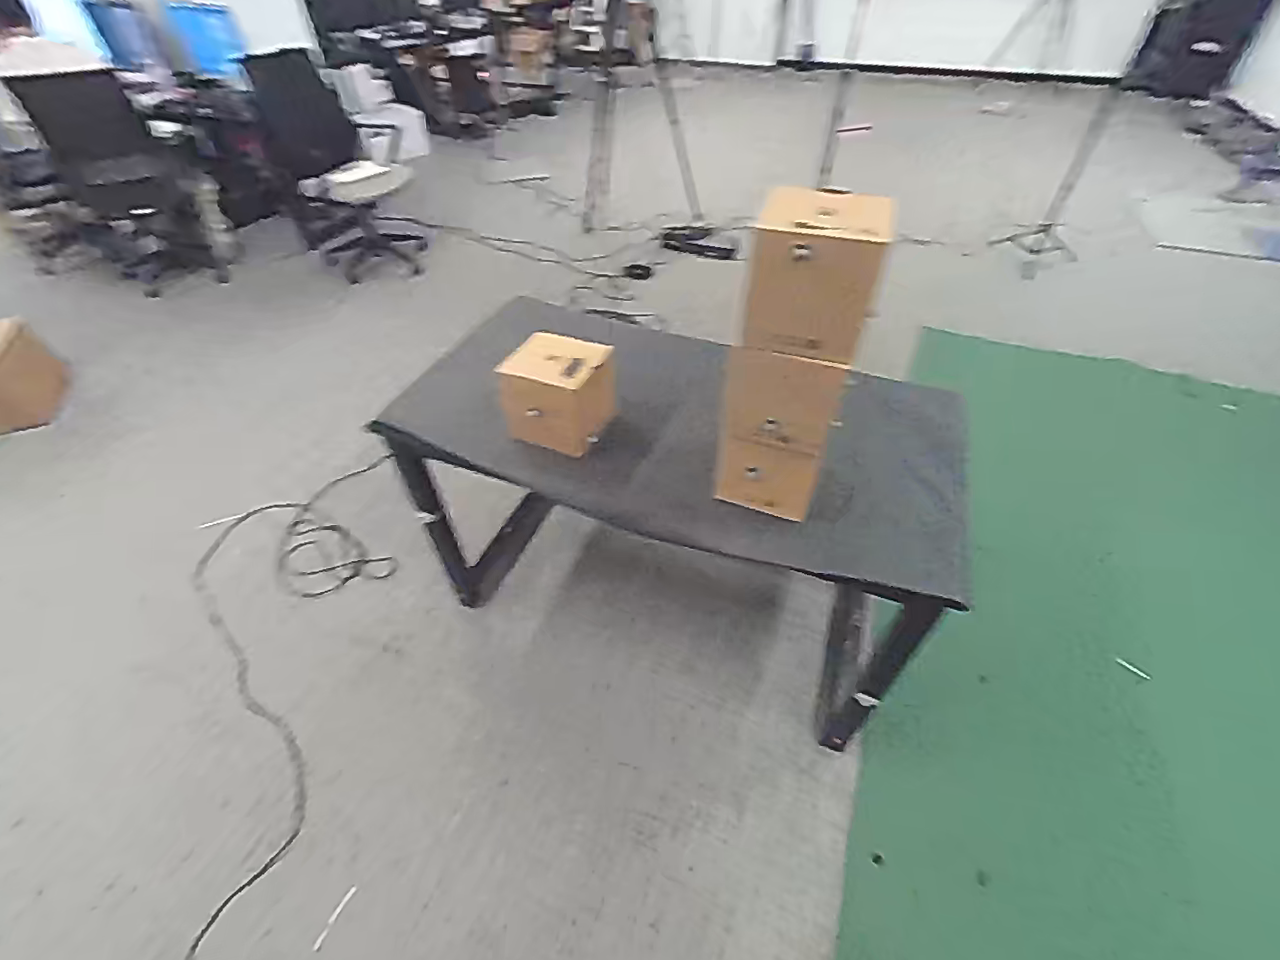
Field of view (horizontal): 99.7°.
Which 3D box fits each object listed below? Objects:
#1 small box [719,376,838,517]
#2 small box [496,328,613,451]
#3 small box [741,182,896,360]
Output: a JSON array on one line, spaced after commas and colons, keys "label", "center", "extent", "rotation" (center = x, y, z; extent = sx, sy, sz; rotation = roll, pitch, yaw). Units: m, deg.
[{"label": "small box", "center": [0.247, -0.060, 0.985], "extent": [0.168, 0.176, 0.179], "rotation": [16, 47, 16]}, {"label": "small box", "center": [-0.163, -0.183, 1.109], "extent": [0.179, 0.176, 0.168], "rotation": [17, 47, 17]}, {"label": "small box", "center": [0.244, -0.293, 0.755], "extent": [0.168, 0.176, 0.179], "rotation": [14, 46, 14]}]
